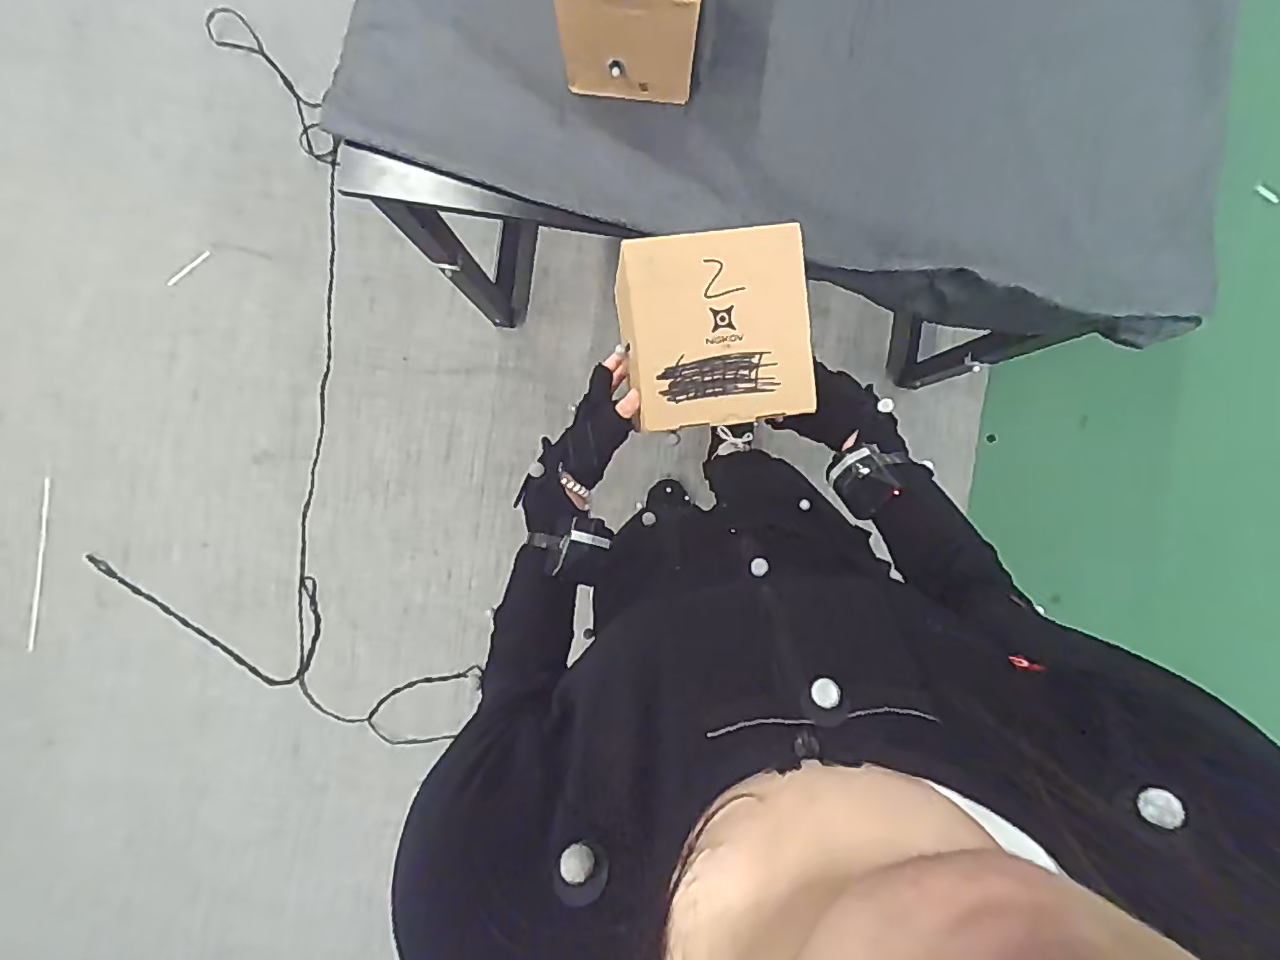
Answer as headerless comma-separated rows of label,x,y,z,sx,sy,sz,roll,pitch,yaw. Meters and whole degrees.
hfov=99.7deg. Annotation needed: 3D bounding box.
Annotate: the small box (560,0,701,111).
small box,-0.007,-0.618,0.685,0.168,0.176,0.179,6,91,-1
